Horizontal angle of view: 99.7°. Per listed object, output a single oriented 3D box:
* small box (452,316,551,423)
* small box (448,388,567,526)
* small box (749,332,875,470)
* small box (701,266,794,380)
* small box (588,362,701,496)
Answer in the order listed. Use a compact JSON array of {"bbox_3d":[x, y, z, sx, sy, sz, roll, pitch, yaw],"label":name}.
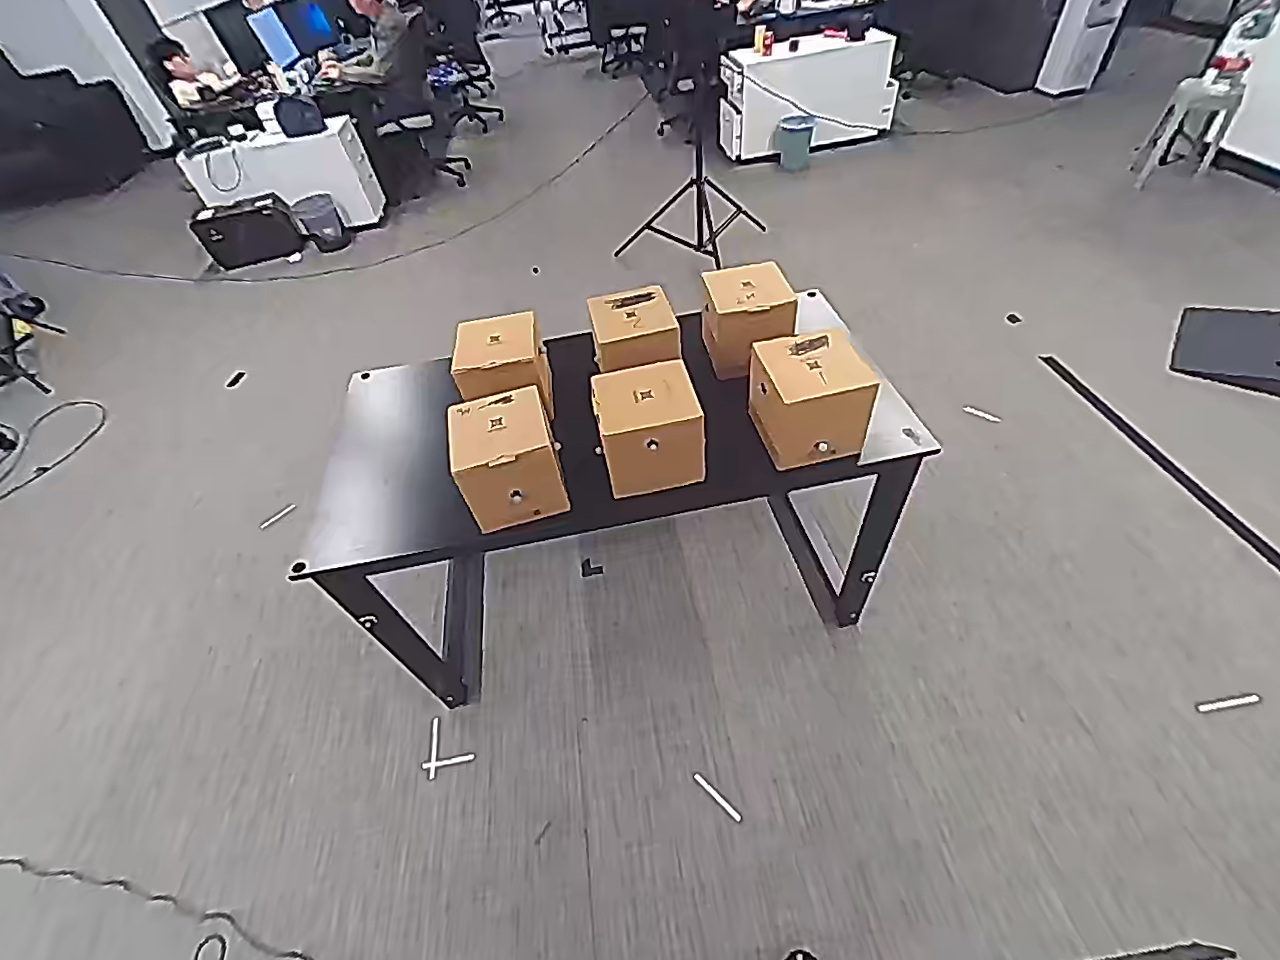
[{"bbox_3d":[-0.291,-0.227,1.173,0.168,0.176,0.179,-10,48,-1],"label":"small box"},{"bbox_3d":[-0.240,-0.034,0.990,0.168,0.176,0.179,-16,48,-6],"label":"small box"},{"bbox_3d":[0.306,-0.146,1.008,0.168,0.176,0.179,-12,48,-2],"label":"small box"},{"bbox_3d":[0.230,-0.348,1.202,0.168,0.176,0.179,-10,48,0],"label":"small box"},{"bbox_3d":[0.011,-0.090,1.005,0.179,0.176,0.168,-11,48,-3],"label":"small box"}]
